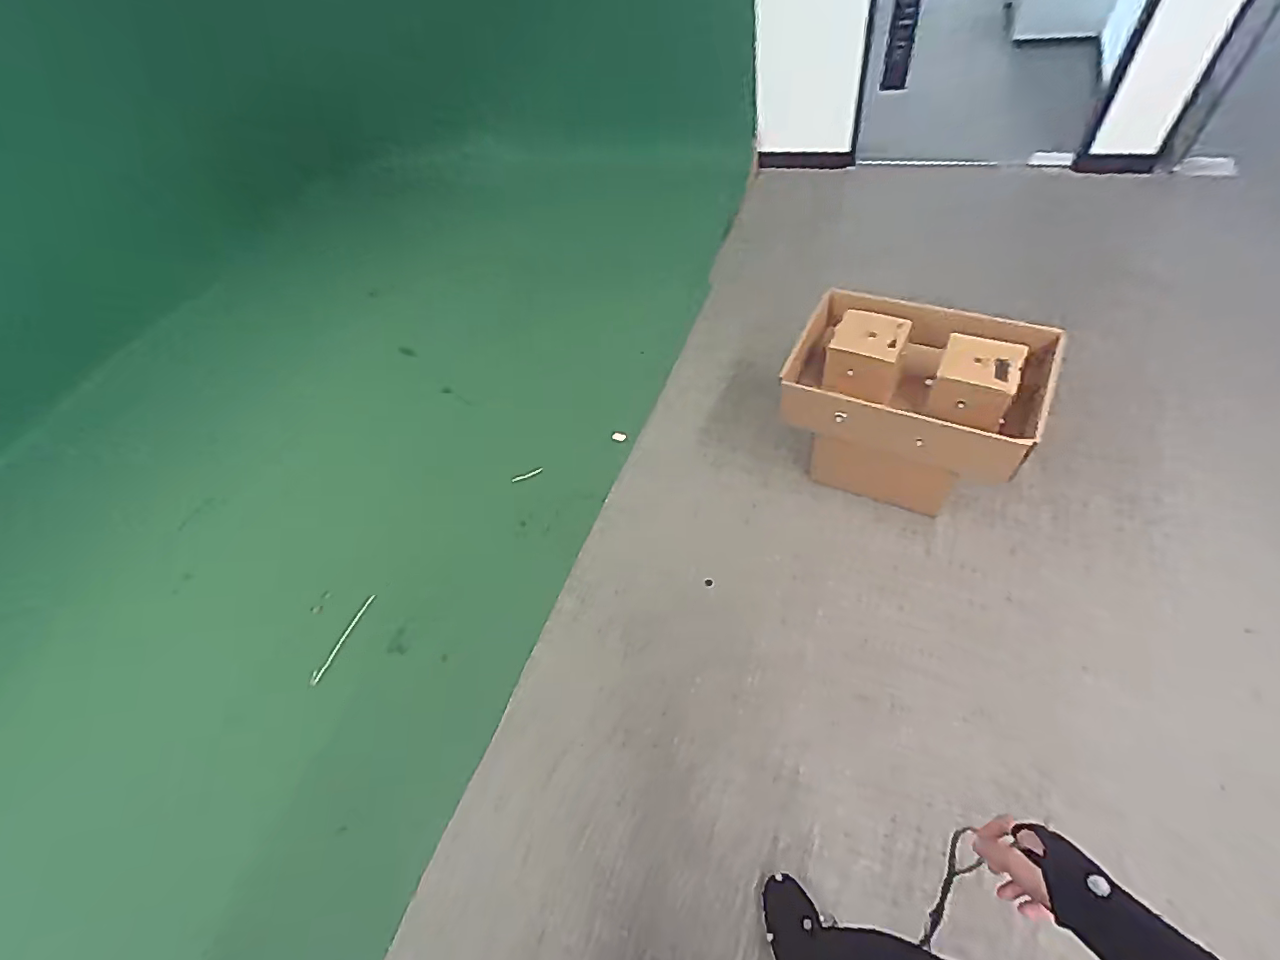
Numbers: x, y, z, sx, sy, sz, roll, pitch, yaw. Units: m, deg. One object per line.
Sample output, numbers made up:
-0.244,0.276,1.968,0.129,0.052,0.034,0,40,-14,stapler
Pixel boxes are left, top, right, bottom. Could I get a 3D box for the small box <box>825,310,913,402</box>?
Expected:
0.631,-0.341,1.508,0.179,0.176,0.168,22,64,25,small box
